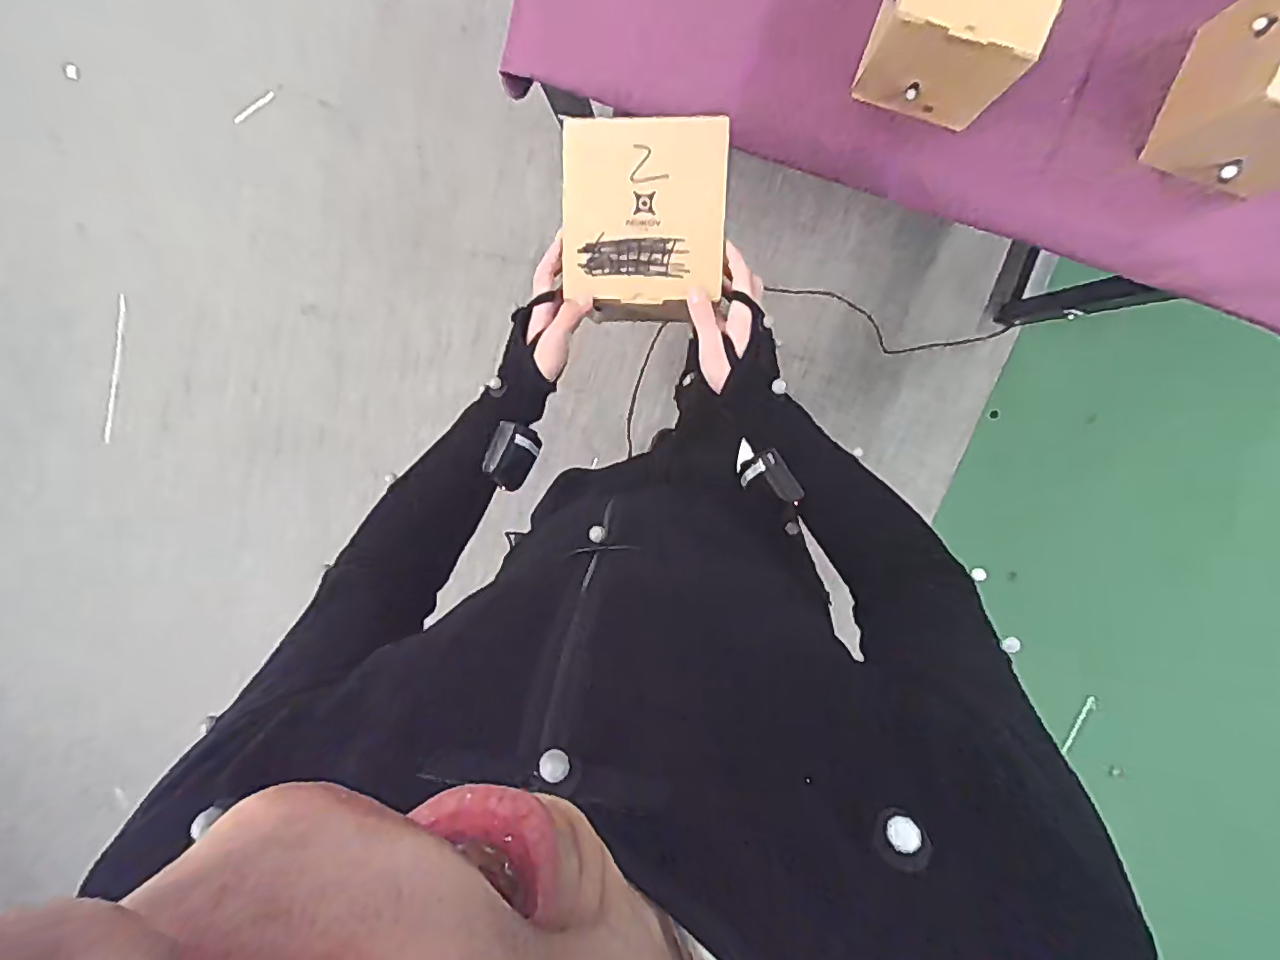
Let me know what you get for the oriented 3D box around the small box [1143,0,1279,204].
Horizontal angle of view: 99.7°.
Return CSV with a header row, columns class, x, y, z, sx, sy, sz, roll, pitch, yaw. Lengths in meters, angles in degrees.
class,x,y,z,sx,sy,sz,roll,pitch,yaw
small box,0.777,-0.471,0.649,0.168,0.176,0.179,20,99,2
